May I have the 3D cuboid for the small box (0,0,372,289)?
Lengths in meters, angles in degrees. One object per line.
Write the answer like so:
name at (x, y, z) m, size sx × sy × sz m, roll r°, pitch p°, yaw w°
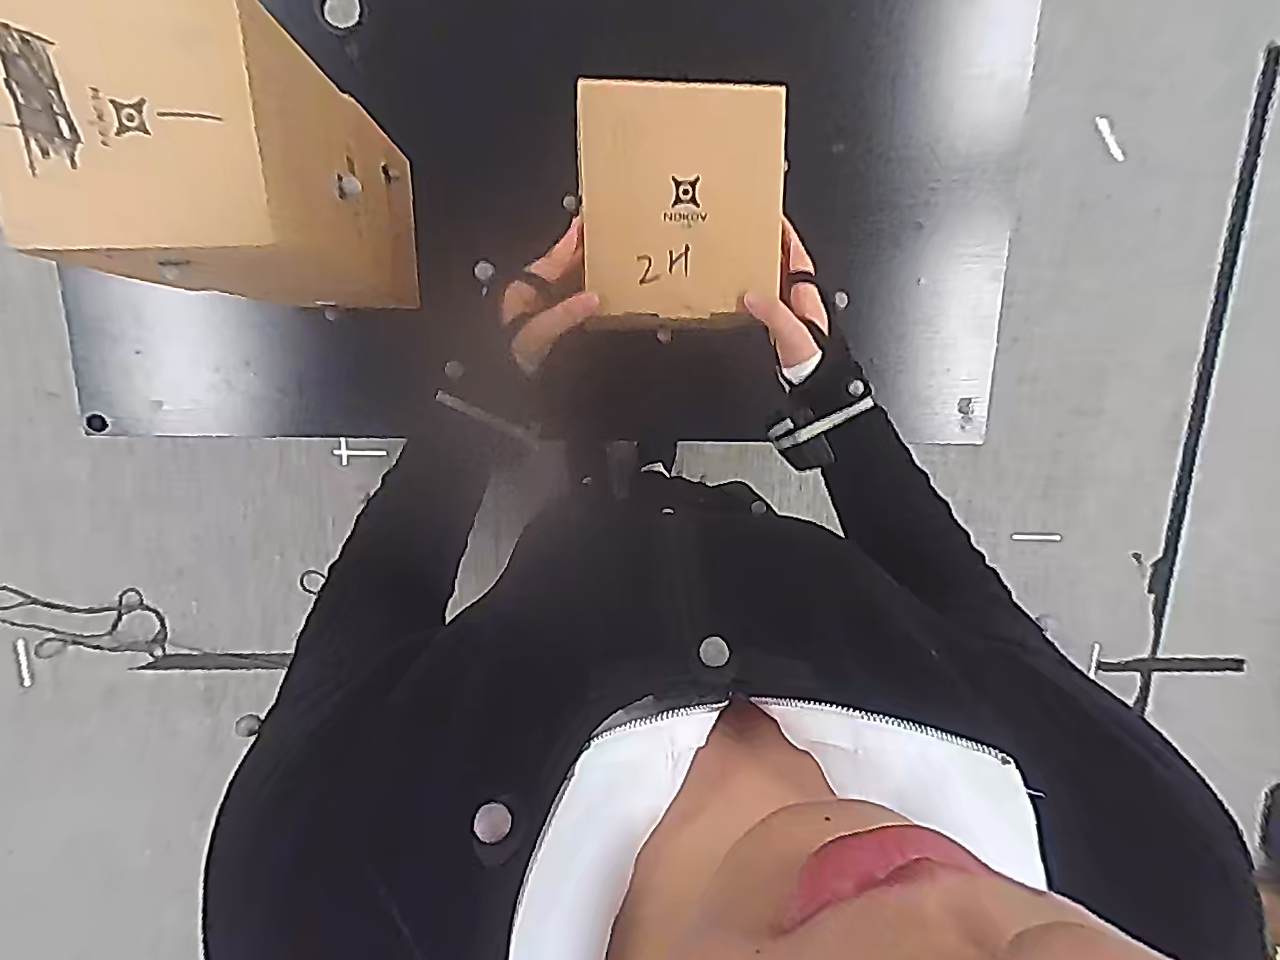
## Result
small box at (-0.347, -0.253, 0.436) m, size 0.179 × 0.176 × 0.168 m, roll -3°, pitch 101°, yaw -4°

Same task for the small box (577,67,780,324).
small box at (0.024, -0.249, 0.518) m, size 0.168 × 0.176 × 0.179 m, roll -2°, pitch 101°, yaw -5°

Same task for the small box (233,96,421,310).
small box at (-0.356, -0.289, 0.596) m, size 0.168 × 0.176 × 0.179 m, roll -1°, pitch 101°, yaw -3°
